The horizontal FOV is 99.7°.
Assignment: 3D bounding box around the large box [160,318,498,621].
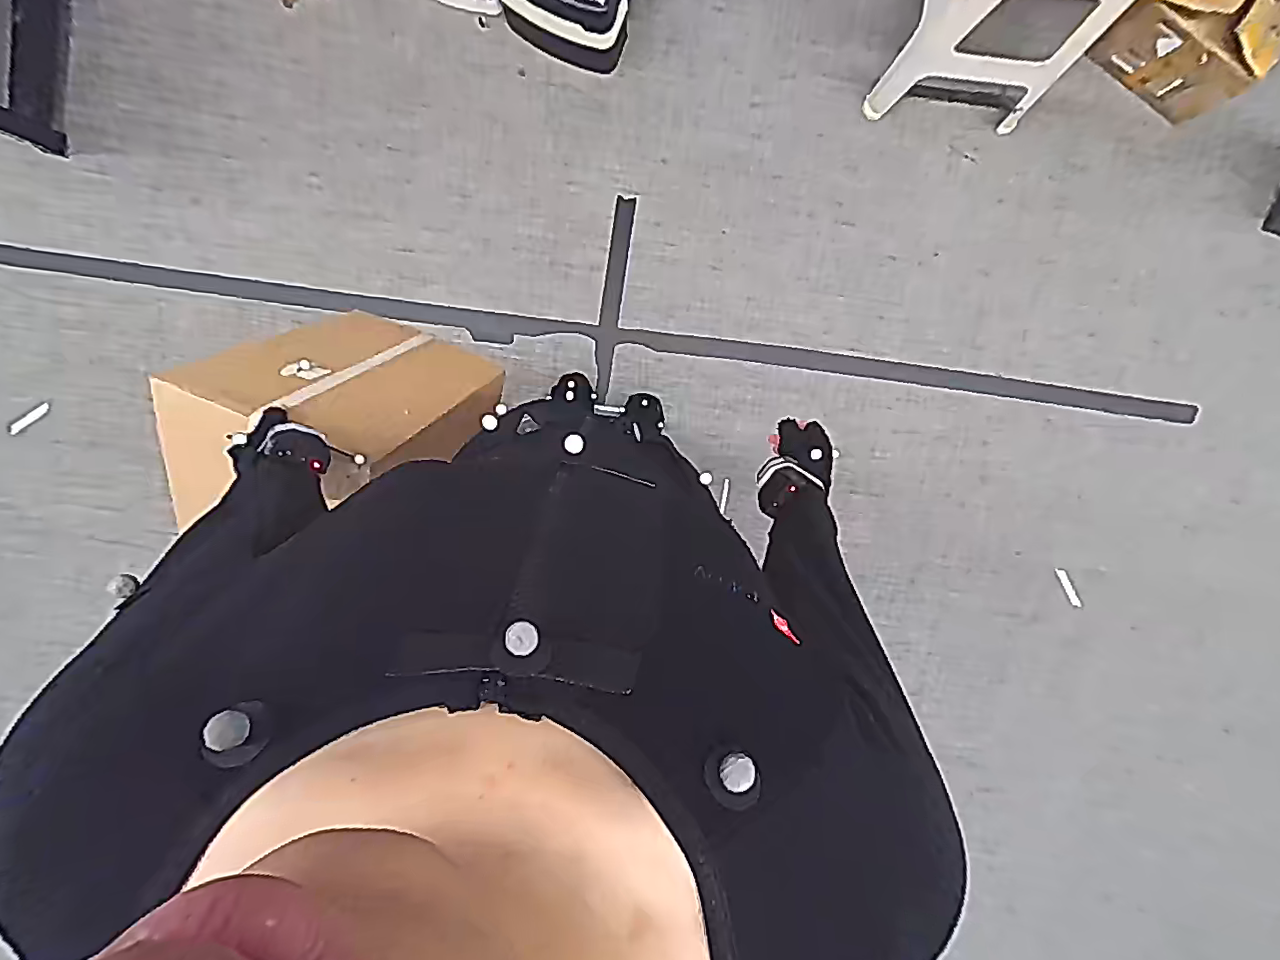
[{"bbox_3d":[-0.491,-0.041,0.944,0.320,0.408,0.320,20,122,2],"label":"large box"}]
